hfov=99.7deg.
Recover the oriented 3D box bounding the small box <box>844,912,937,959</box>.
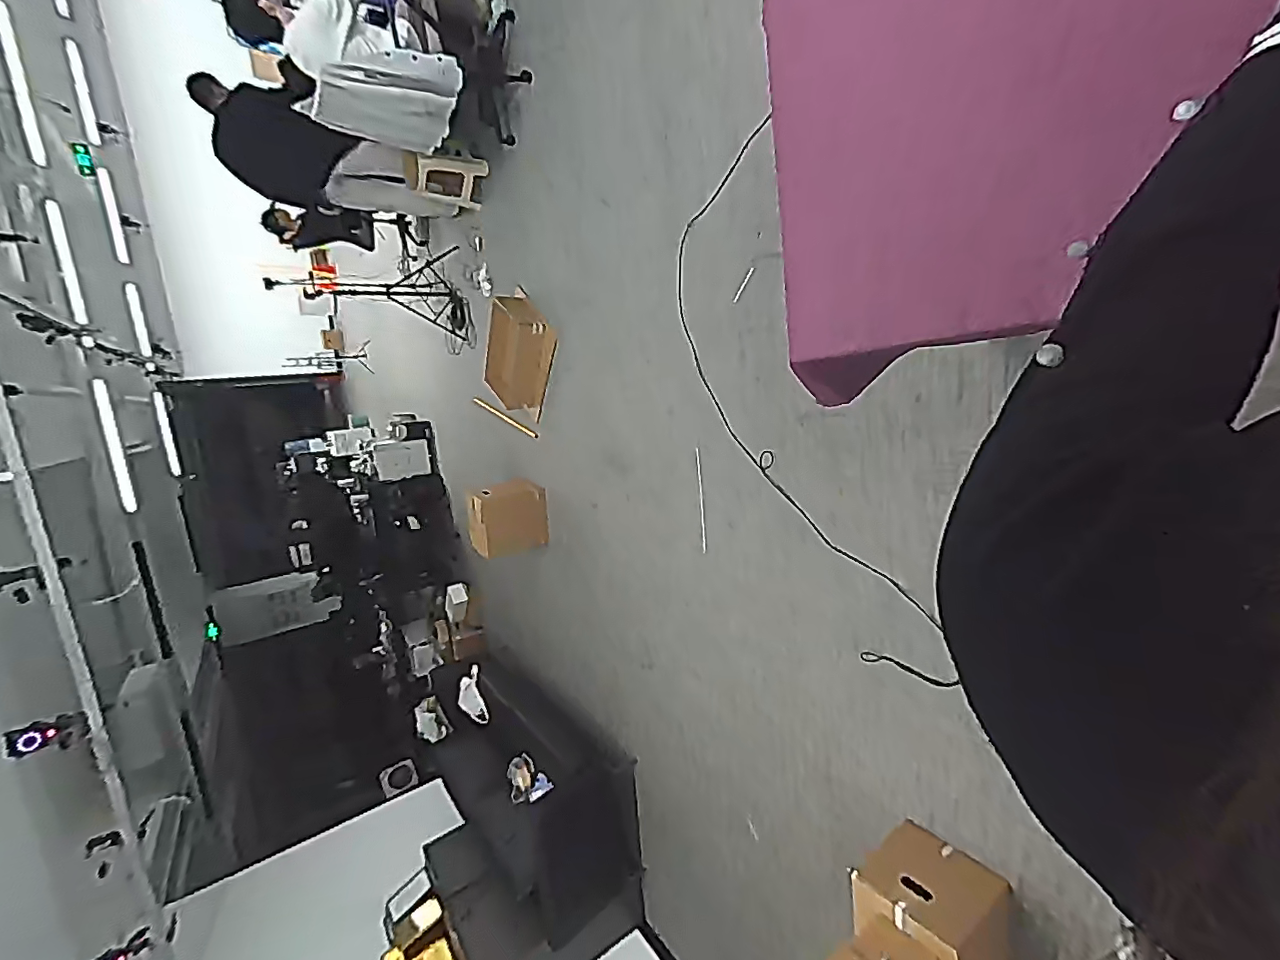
[{"bbox_3d":[0.689,1.349,1.489,0.179,0.176,0.168,5,105,53],"label":"small box"}]
